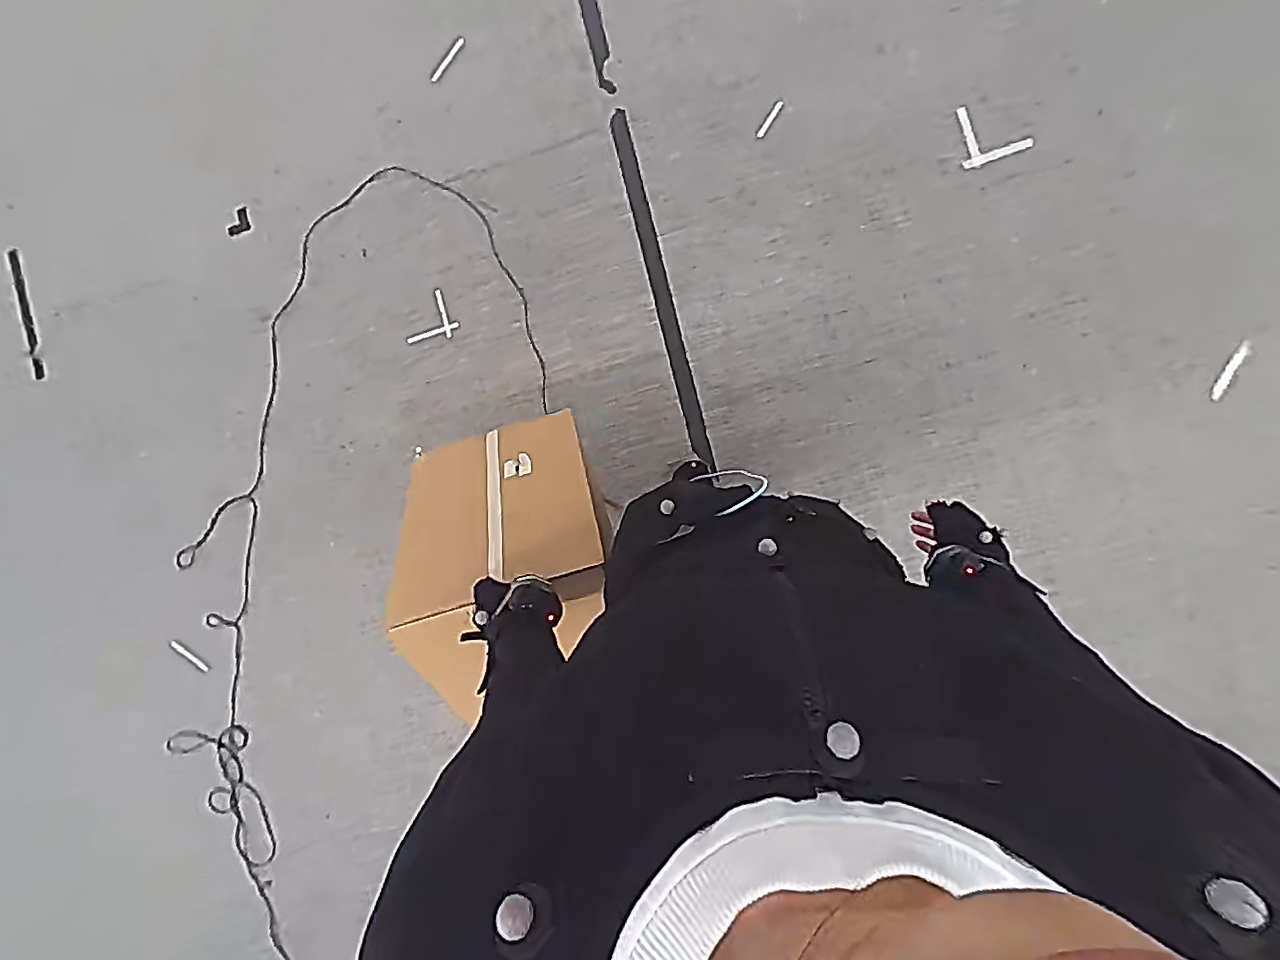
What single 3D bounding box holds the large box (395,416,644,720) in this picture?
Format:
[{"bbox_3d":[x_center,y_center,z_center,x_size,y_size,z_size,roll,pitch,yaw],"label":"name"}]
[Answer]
[{"bbox_3d":[-0.208,0.149,0.997,0.320,0.408,0.320,-16,130,-2],"label":"large box"}]
